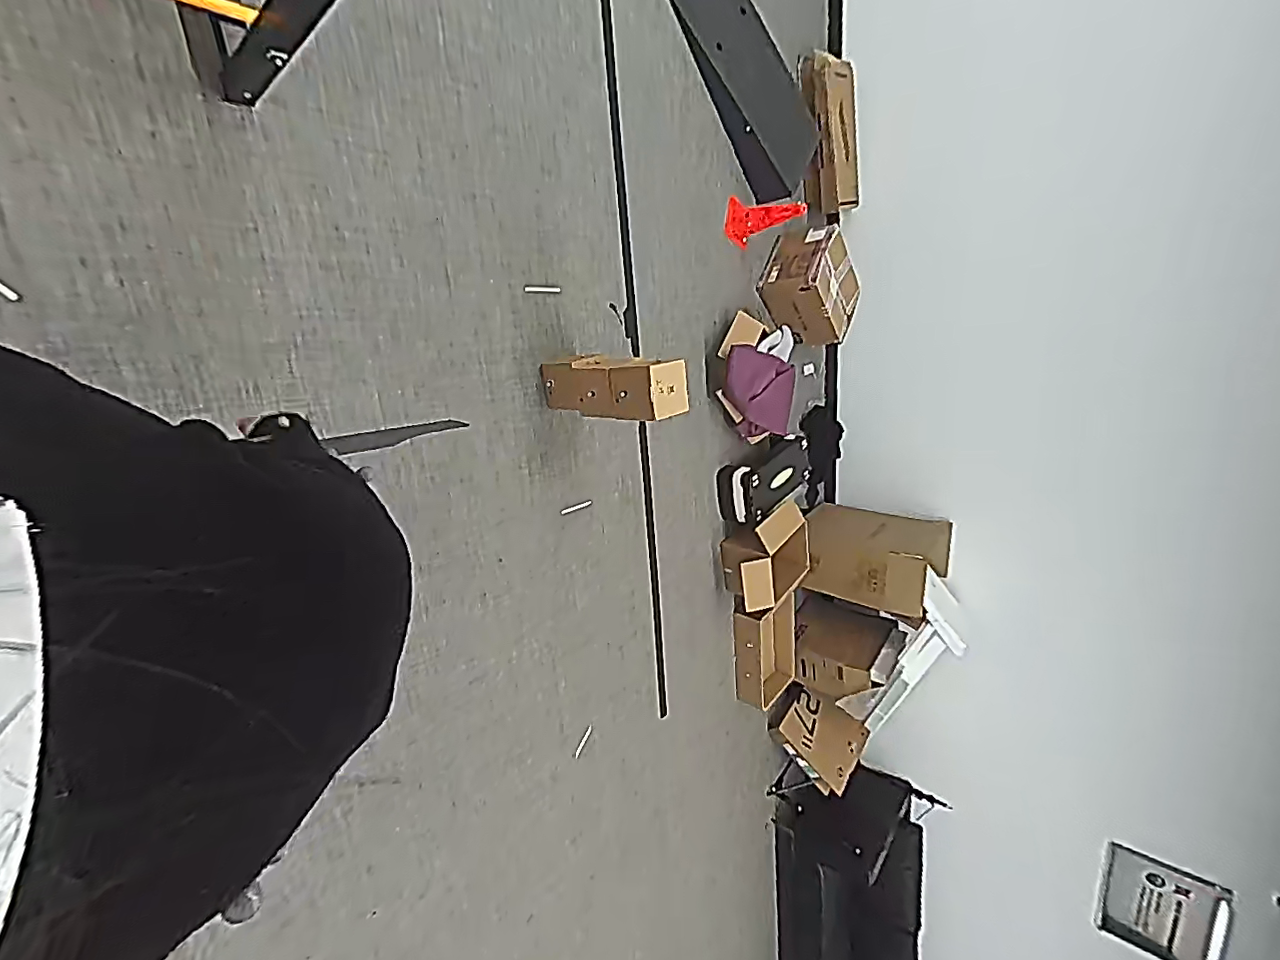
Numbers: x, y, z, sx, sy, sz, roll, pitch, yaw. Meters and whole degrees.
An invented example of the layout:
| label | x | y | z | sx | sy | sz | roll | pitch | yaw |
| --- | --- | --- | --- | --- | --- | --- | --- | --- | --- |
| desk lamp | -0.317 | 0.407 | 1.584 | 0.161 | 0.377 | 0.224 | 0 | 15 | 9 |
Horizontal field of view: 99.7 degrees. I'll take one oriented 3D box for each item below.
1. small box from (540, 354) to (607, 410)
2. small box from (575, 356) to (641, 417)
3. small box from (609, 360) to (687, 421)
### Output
| label | x | y | z | sx | sy | sz | roll | pitch | yaw |
| --- | --- | --- | --- | --- | --- | --- | --- | --- | --- |
| small box | -0.225 | -0.349 | 1.909 | 0.179 | 0.176 | 0.168 | -27 | 116 | -42 |
| small box | -0.101 | -0.312 | 1.806 | 0.179 | 0.176 | 0.168 | -29 | 117 | -42 |
| small box | 0.026 | -0.286 | 1.702 | 0.179 | 0.176 | 0.168 | -23 | 112 | -45 |
